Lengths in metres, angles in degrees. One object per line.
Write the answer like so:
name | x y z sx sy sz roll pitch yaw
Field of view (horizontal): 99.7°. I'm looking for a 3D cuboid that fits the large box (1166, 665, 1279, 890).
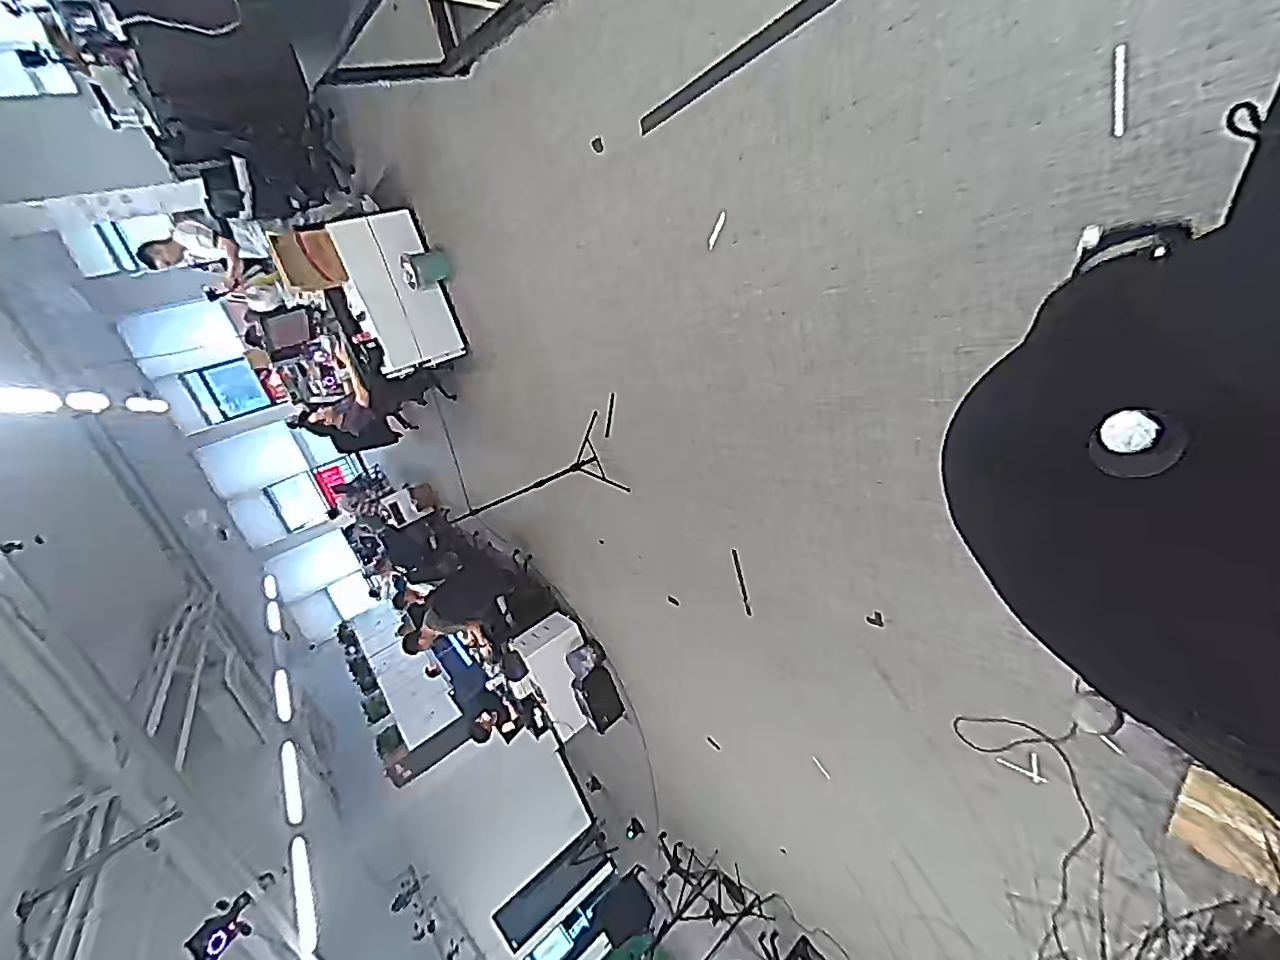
large box | 1.445 0.674 1.139 0.408 0.320 0.320 19 130 48
